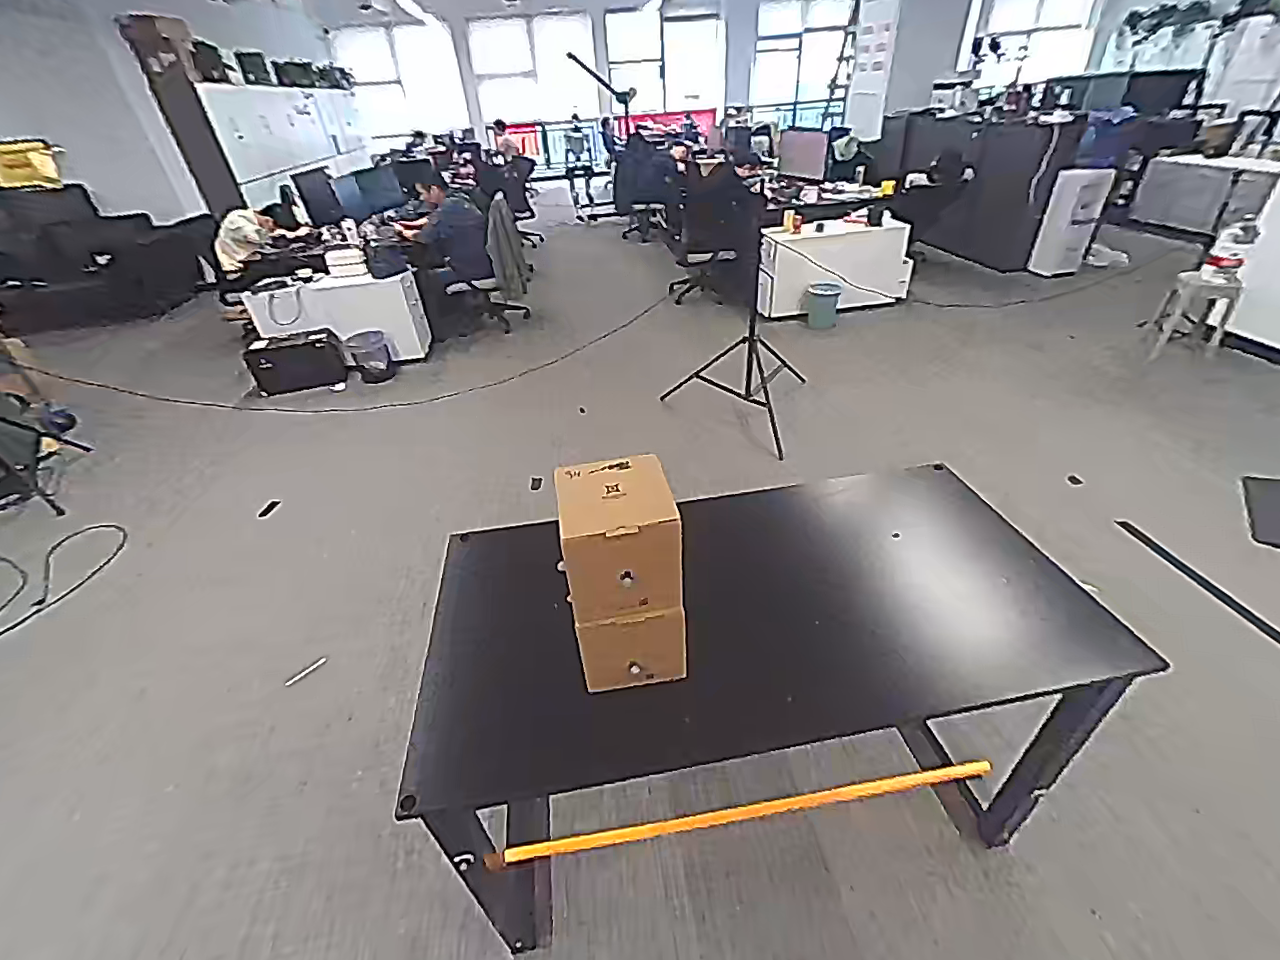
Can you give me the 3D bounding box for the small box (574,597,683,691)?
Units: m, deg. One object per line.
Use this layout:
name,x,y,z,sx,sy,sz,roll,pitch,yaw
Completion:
small box,-0.021,0.228,0.924,0.168,0.176,0.179,-8,35,-3

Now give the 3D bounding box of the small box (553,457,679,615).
small box,-0.037,0.090,0.836,0.168,0.176,0.179,-9,36,-6
